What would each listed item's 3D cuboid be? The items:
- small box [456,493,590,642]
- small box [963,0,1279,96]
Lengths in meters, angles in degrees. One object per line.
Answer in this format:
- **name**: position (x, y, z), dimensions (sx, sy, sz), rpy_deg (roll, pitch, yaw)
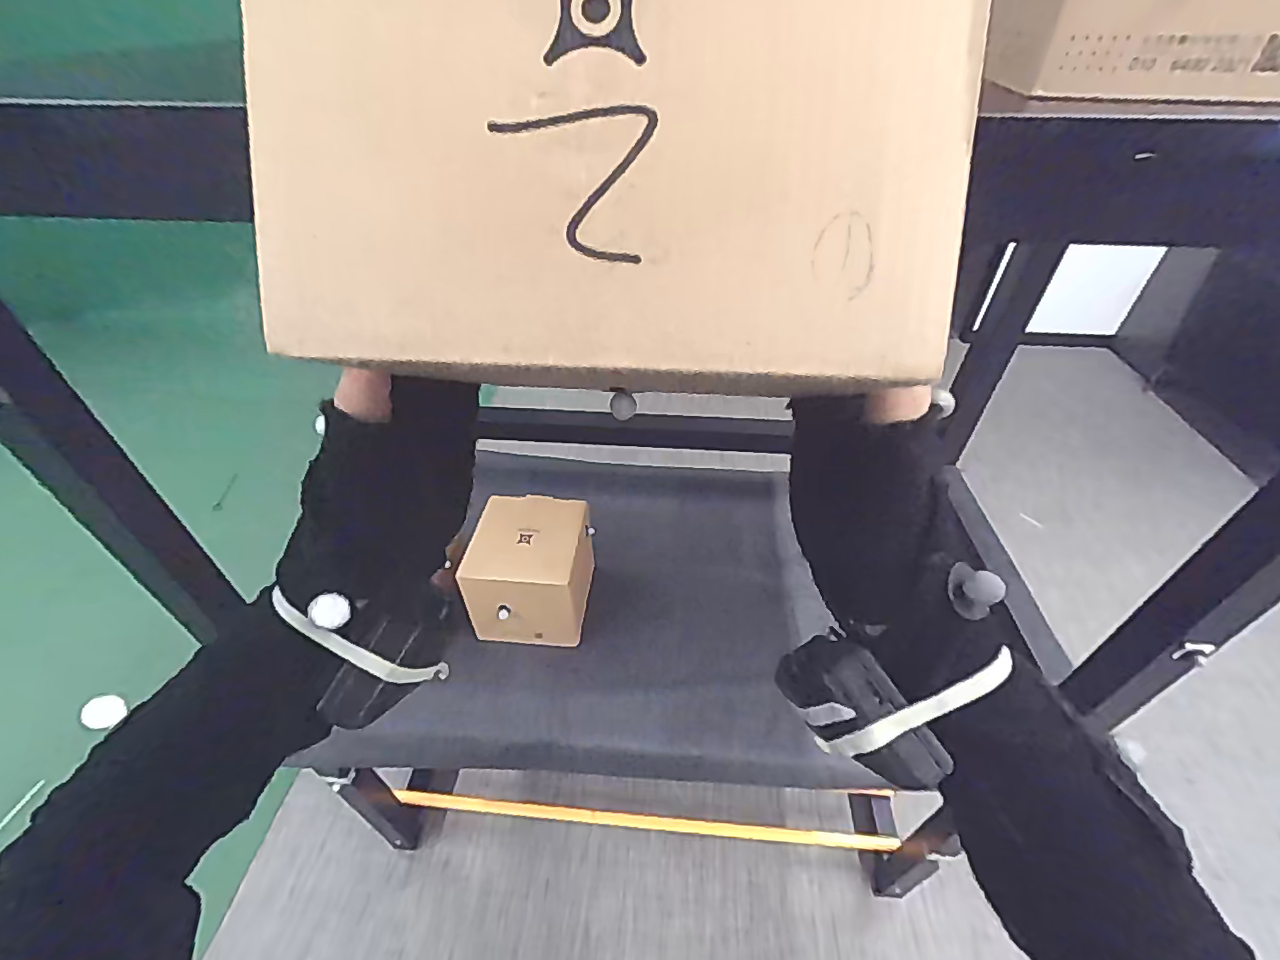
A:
- **small box**: position (-0.176, 0.144, 0.880), dimensions (0.168, 0.176, 0.179), rpy_deg (3, 41, 4)
- **small box**: position (0.310, -0.324, 0.299), dimensions (0.168, 0.176, 0.179), rpy_deg (9, 42, 10)
